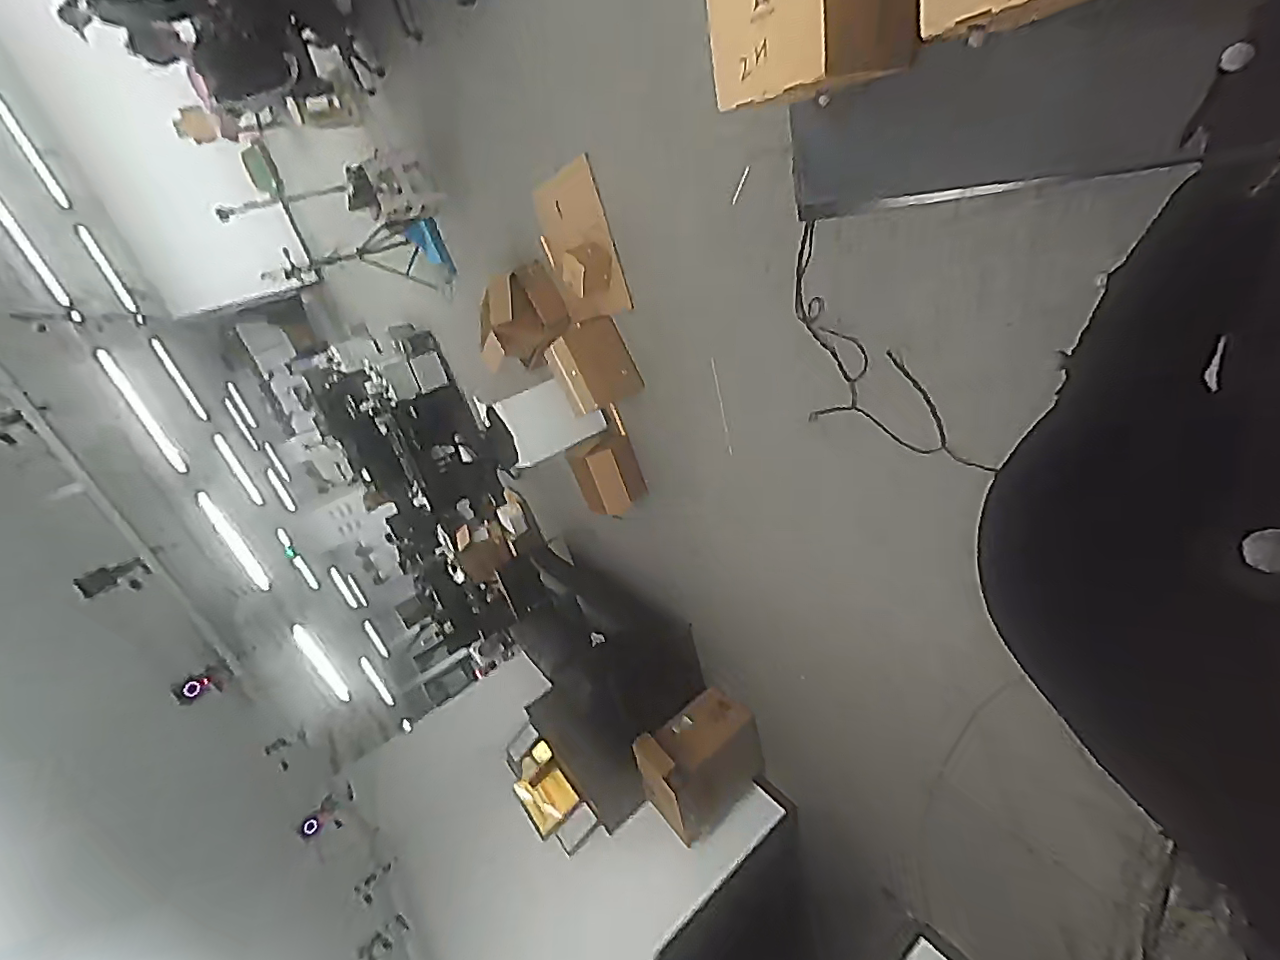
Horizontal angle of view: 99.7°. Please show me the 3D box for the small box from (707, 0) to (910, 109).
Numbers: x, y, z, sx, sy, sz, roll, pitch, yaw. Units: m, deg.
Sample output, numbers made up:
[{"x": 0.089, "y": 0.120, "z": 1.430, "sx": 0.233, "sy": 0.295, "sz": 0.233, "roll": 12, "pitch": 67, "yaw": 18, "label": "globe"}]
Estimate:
[{"x": 0.199, "y": -0.564, "z": 0.638, "sx": 0.168, "sy": 0.176, "sz": 0.179, "roll": 25, "pitch": 136, "yaw": 49, "label": "small box"}]
